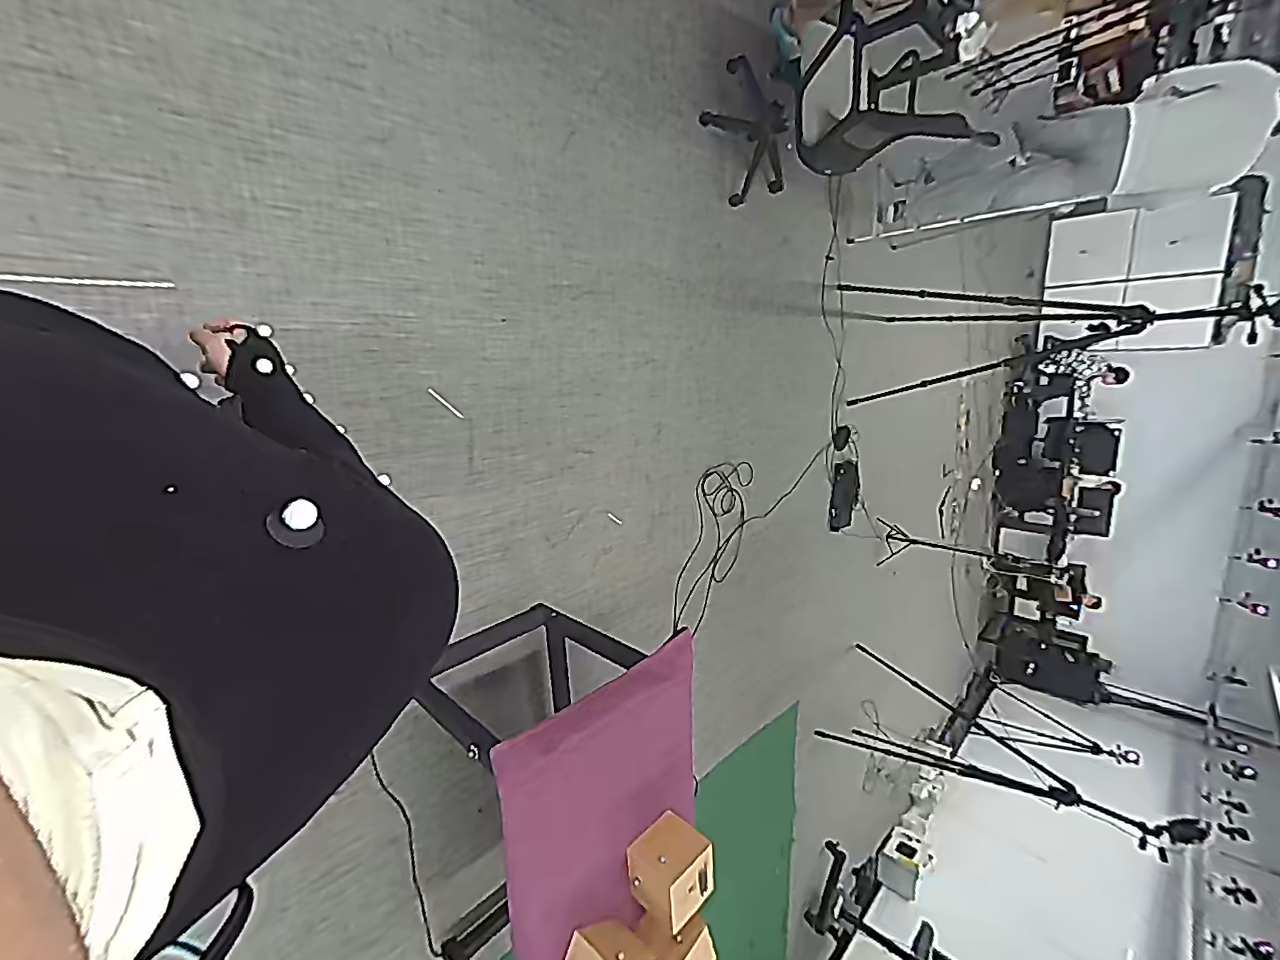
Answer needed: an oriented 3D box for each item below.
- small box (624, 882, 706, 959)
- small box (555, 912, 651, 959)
[{"bbox_3d":[0.066,1.353,1.591,0.179,0.176,0.168,-33,120,-37],"label":"small box"},{"bbox_3d":[-0.109,1.257,1.384,0.179,0.176,0.168,34,73,-46],"label":"small box"}]
